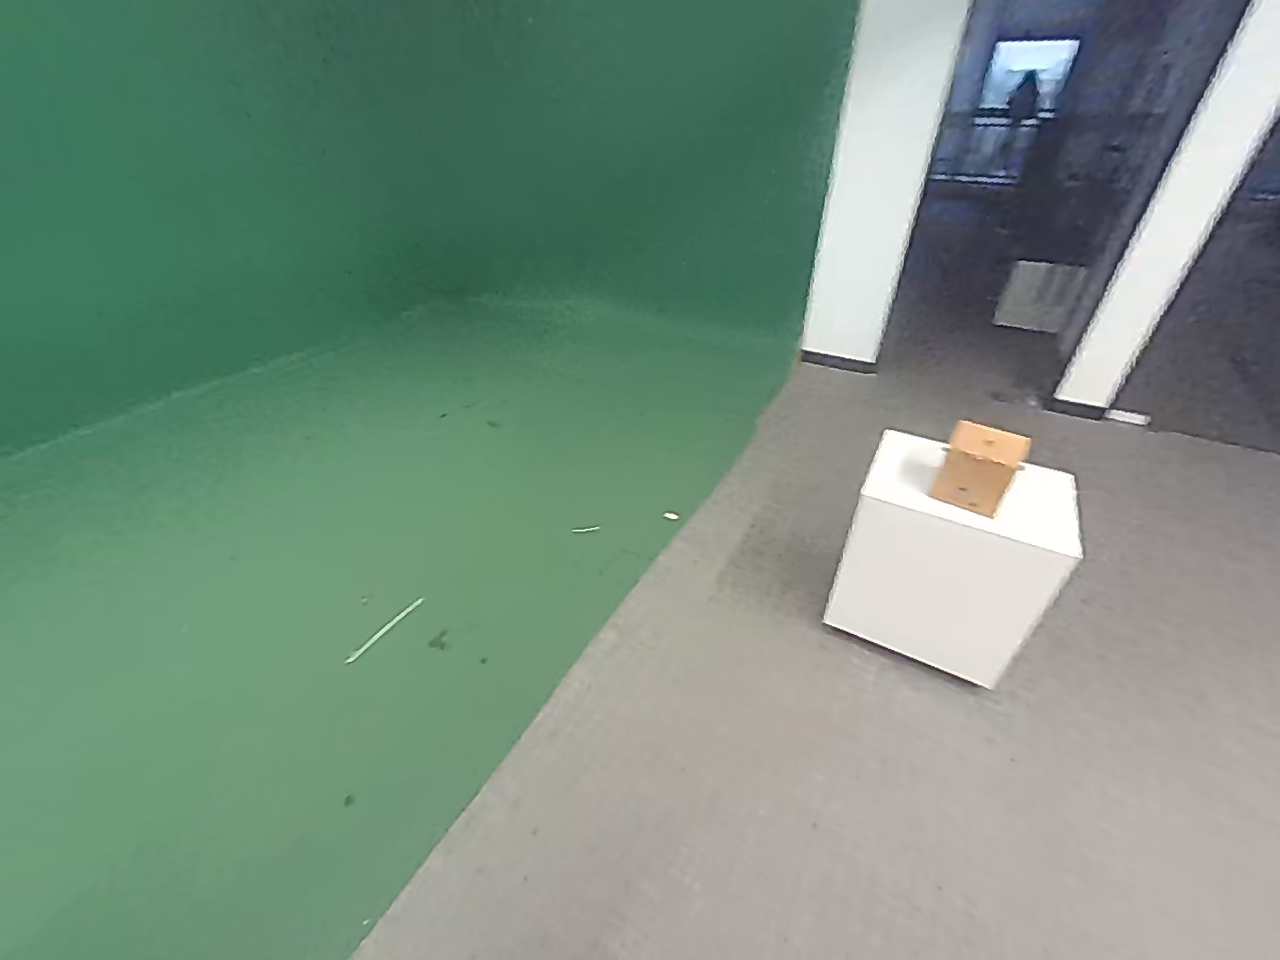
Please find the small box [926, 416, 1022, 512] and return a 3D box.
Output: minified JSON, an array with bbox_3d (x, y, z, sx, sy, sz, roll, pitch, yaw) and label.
[{"bbox_3d":[0.896,-0.045,1.459,0.168,0.176,0.179,23,42,28],"label":"small box"}]
